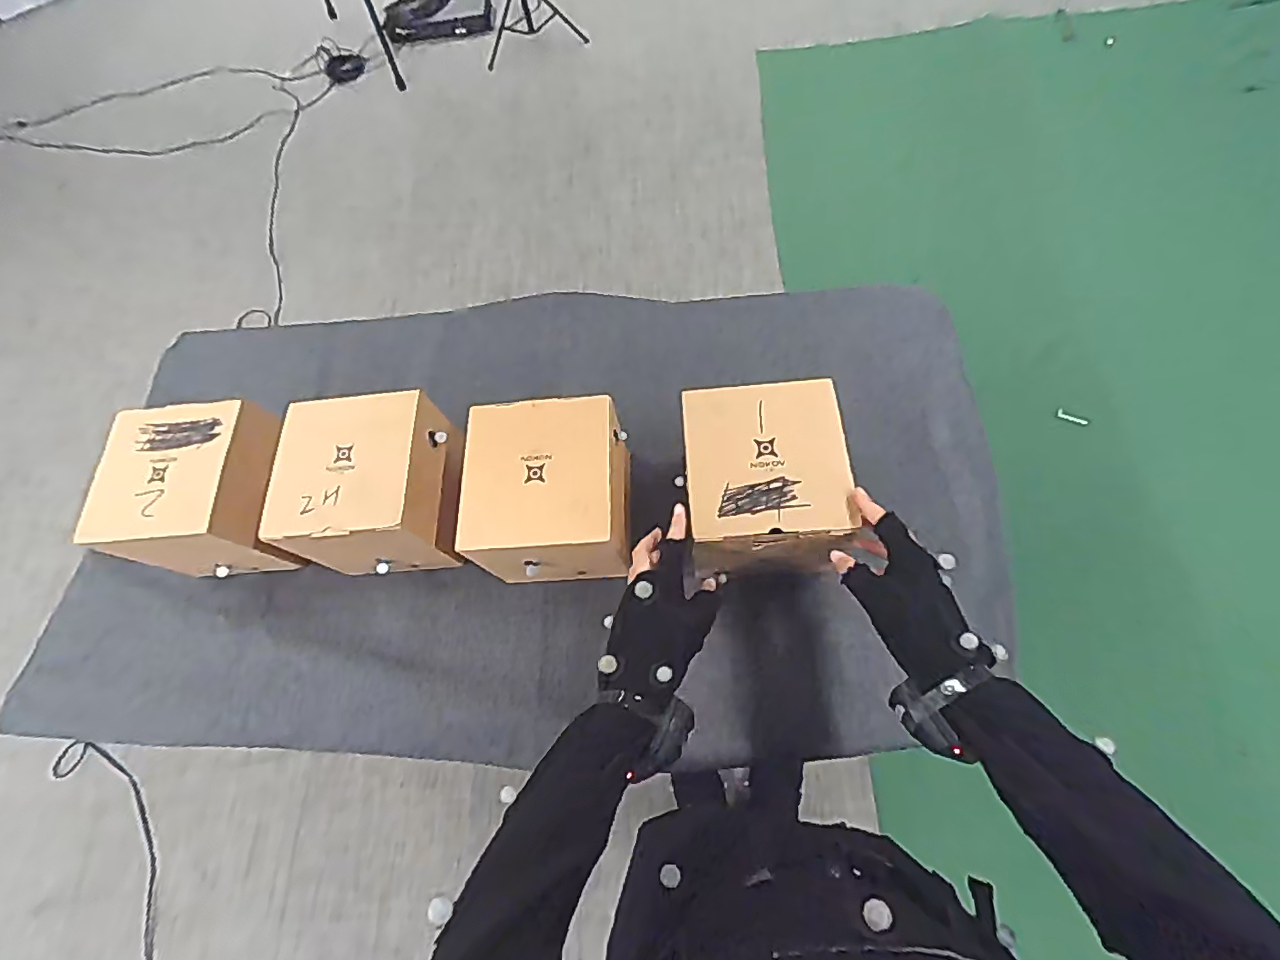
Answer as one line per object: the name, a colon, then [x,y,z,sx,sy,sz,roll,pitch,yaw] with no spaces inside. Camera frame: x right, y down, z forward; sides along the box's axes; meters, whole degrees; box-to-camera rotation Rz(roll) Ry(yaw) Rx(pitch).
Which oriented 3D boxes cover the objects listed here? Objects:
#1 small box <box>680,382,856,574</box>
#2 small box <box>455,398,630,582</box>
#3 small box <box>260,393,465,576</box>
small box: [0.137,0.009,0.633,0.168,0.176,0.179,-4,66,5]
small box: [-0.105,0.023,0.658,0.168,0.176,0.179,-4,66,5]
small box: [-0.327,0.013,0.687,0.168,0.176,0.179,-5,67,5]
